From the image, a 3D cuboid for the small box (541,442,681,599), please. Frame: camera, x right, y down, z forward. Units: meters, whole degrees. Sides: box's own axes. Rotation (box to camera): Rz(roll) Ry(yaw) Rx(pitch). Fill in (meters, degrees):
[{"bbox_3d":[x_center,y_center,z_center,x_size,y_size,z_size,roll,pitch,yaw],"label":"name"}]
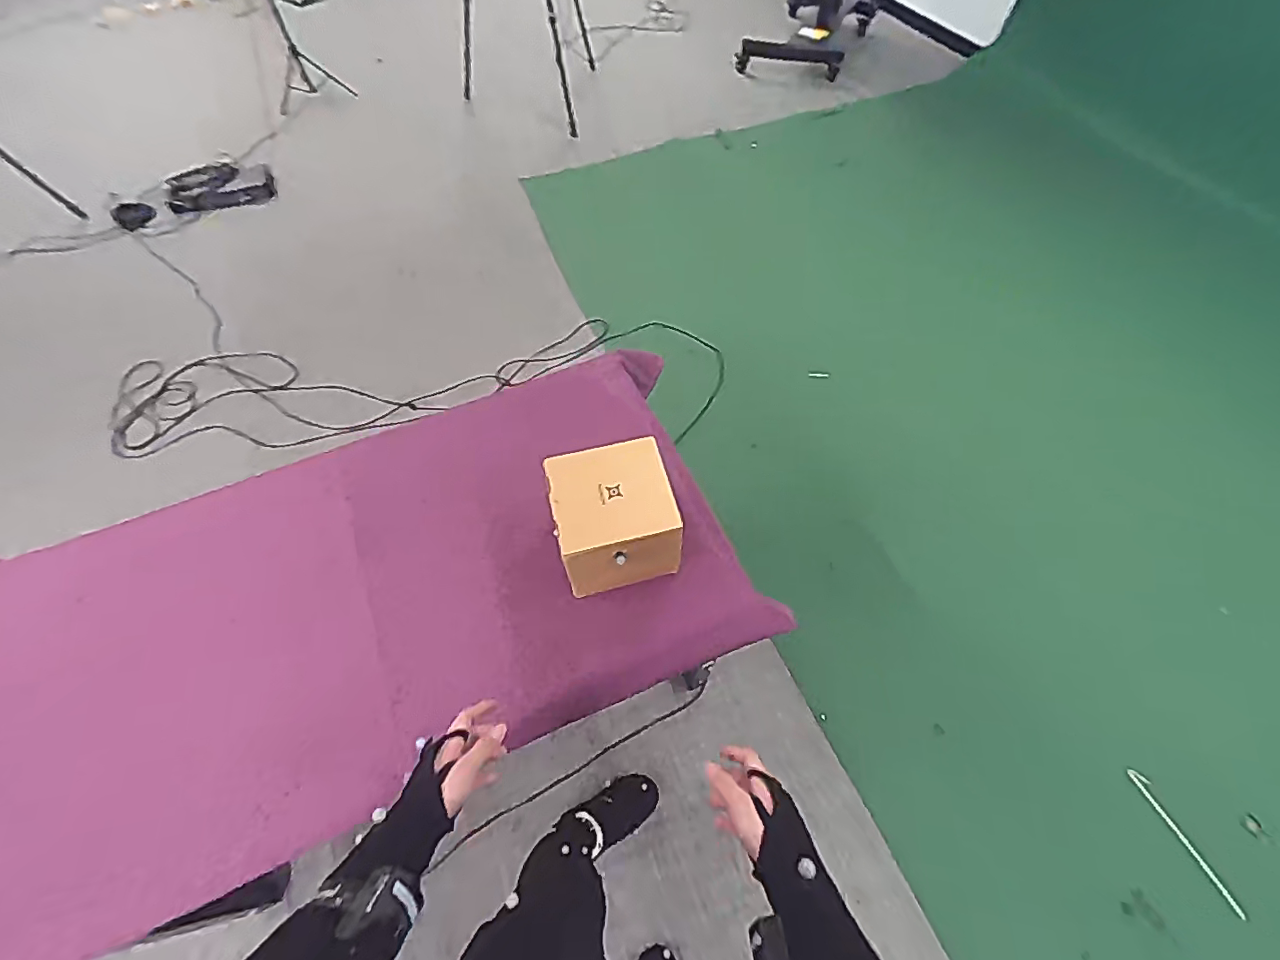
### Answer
[{"bbox_3d":[-0.045,0.067,0.847,0.179,0.176,0.168,-14,59,-6],"label":"small box"}]
